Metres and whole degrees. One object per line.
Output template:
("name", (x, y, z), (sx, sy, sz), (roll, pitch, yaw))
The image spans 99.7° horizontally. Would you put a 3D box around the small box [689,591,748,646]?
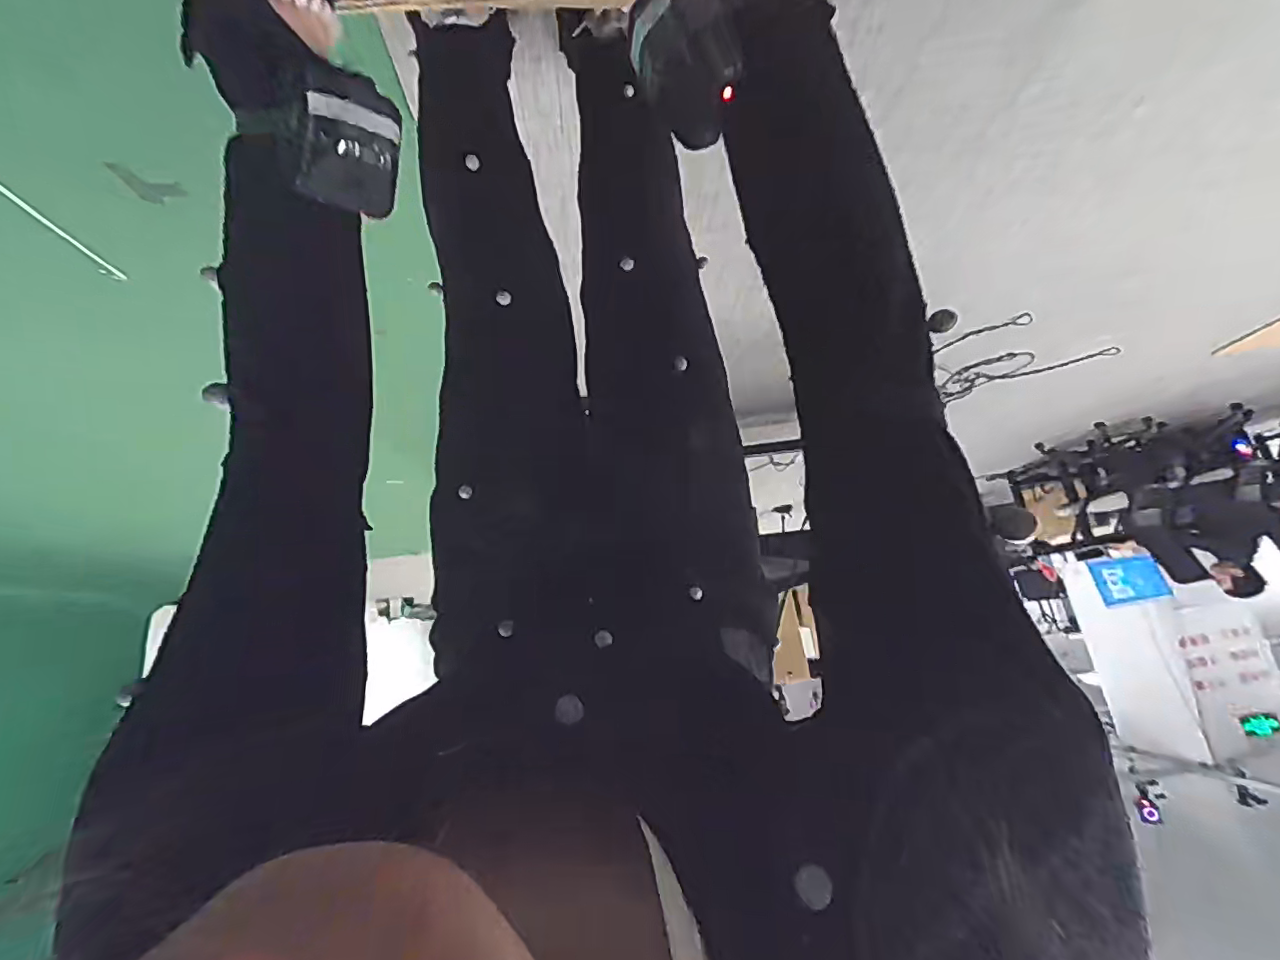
("small box", (0.279, 0.503, 1.966), (0.168, 0.176, 0.179), (-10, 165, -4))
